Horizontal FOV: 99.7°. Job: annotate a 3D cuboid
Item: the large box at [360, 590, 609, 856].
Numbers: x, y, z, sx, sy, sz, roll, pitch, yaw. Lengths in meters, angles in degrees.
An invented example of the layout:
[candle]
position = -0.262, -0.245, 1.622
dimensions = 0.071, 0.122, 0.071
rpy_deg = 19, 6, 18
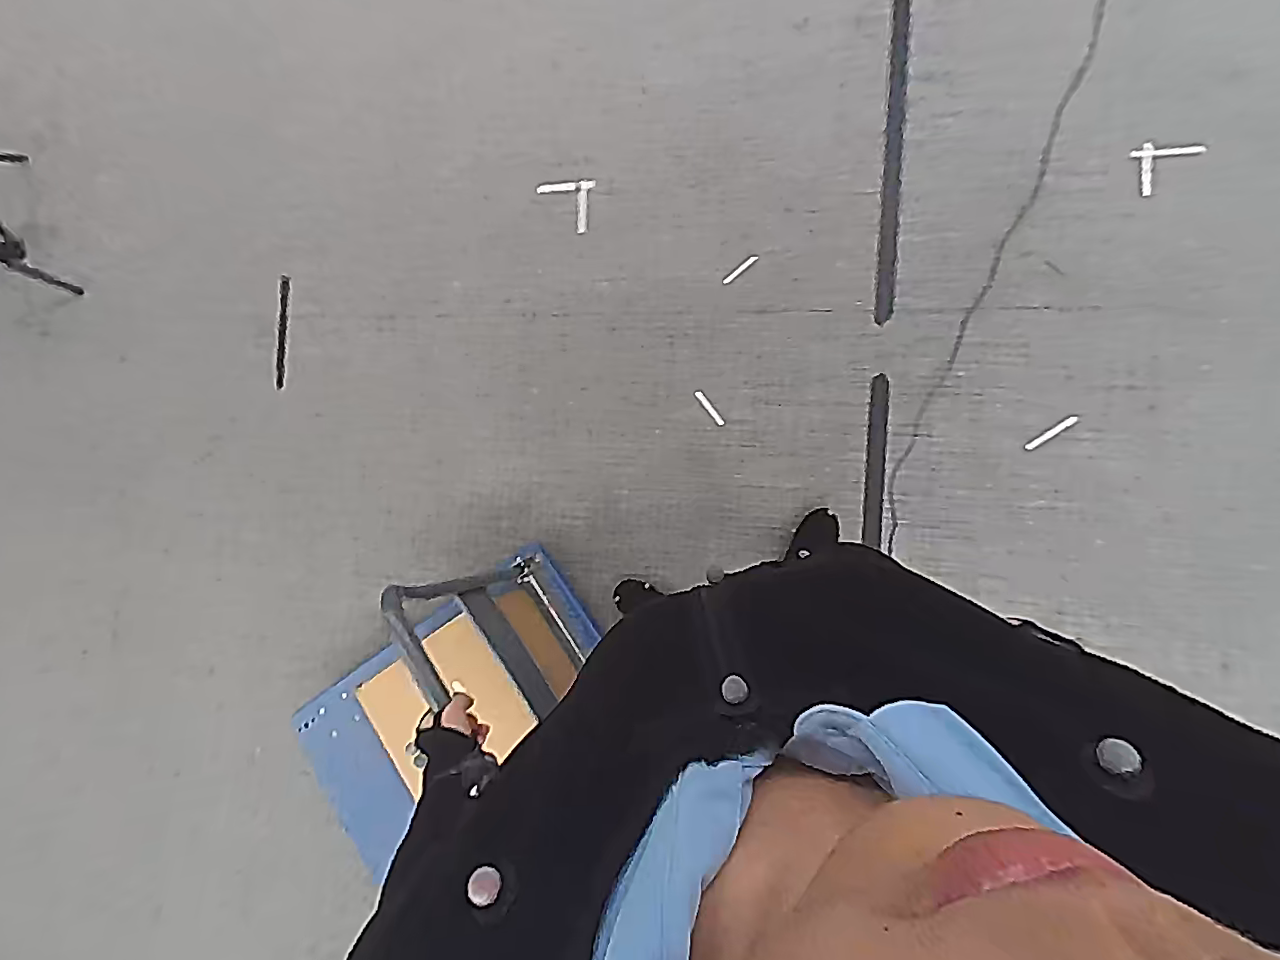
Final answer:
[large box]
position = -0.331, 0.518, 1.239
dimensions = 0.320, 0.320, 0.408
rpy_deg = -36, 81, 6
